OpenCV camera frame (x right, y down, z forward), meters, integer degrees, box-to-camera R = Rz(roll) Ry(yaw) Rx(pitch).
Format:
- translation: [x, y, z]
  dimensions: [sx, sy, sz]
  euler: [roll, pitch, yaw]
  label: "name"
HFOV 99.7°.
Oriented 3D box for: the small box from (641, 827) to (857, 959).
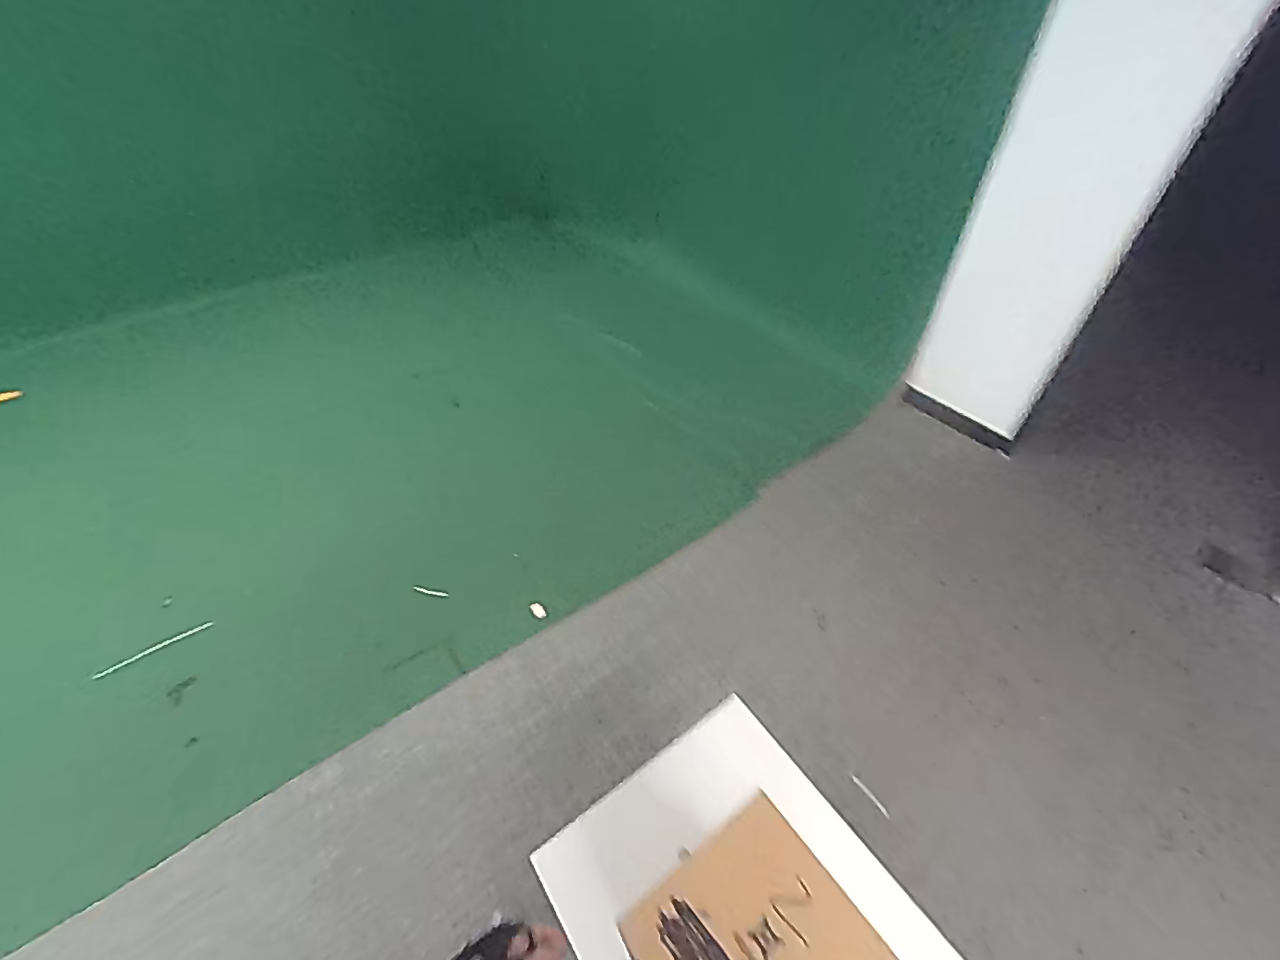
- translation: [0.113, 0.544, 0.613]
  dimensions: [0.179, 0.176, 0.168]
  euler: [-26, 50, -24]
  label: "small box"
